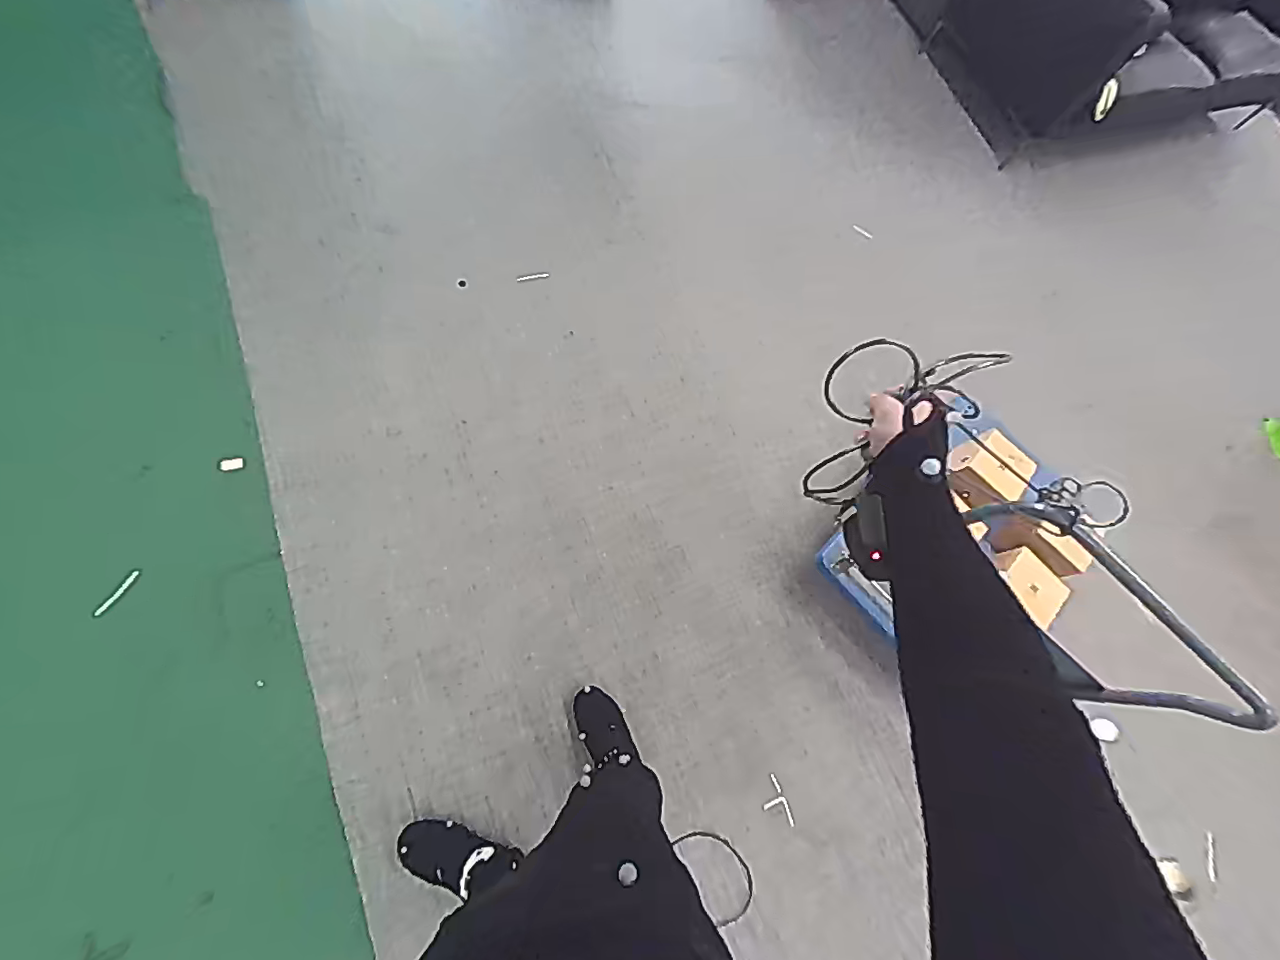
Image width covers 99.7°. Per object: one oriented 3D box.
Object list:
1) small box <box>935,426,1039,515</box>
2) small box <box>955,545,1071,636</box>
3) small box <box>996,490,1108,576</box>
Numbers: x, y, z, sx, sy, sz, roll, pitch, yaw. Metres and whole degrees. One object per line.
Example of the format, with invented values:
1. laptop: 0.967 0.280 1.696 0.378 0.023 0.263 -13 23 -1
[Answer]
1. small box: 1.017 -0.022 1.603 0.168 0.176 0.179 44 68 4
2. small box: 1.015 0.308 1.486 0.179 0.176 0.168 -39 82 -21
3. small box: 1.190 0.164 1.574 0.168 0.176 0.179 45 68 6
